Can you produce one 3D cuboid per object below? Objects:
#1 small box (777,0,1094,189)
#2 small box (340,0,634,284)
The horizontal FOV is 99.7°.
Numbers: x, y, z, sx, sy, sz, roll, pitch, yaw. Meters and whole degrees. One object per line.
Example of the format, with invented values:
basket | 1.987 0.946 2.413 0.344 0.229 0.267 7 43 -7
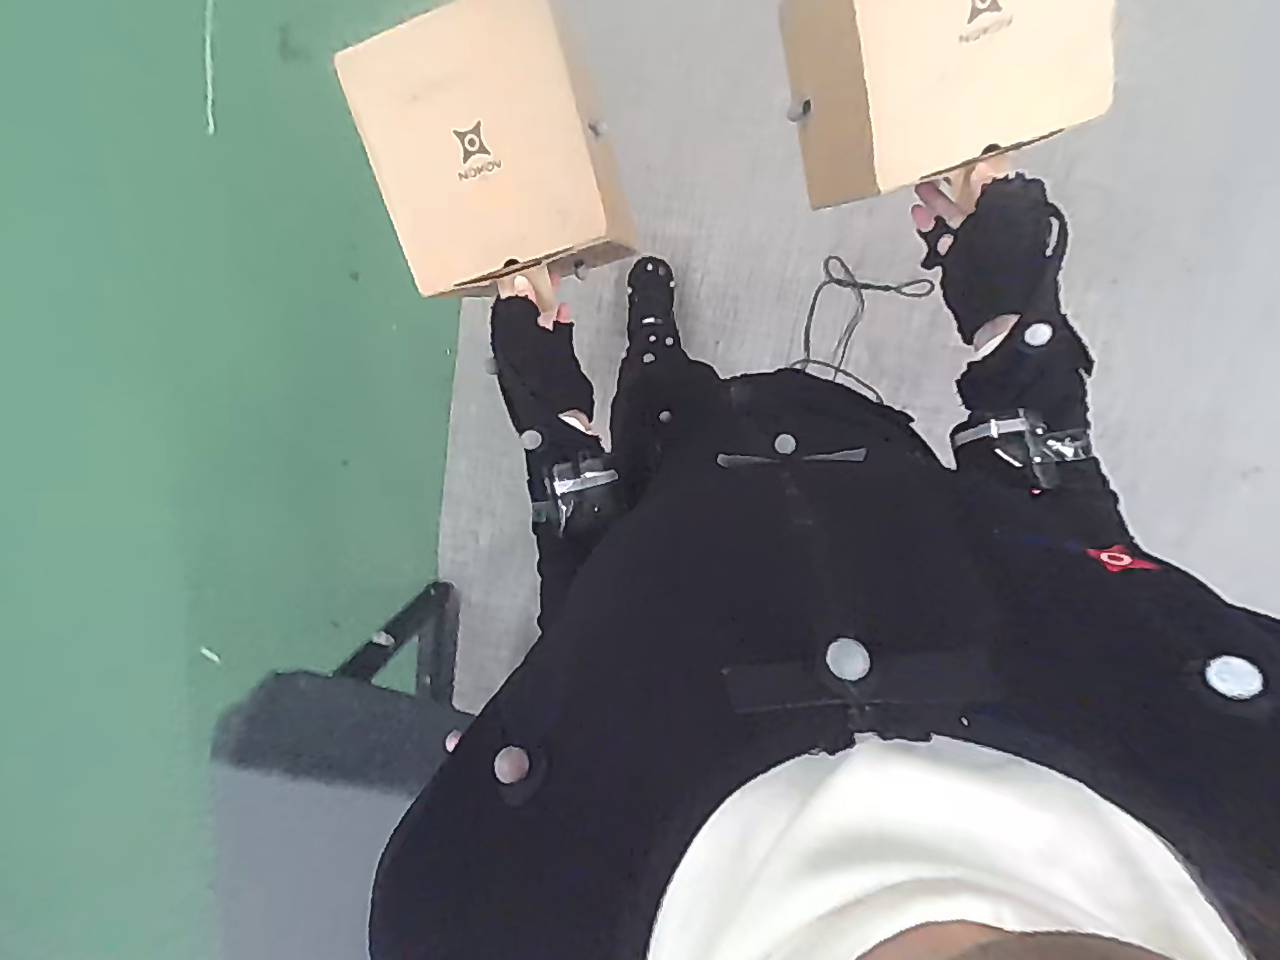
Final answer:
small box | 0.223 -0.353 0.440 0.168 0.176 0.179 -16 114 6
small box | -0.112 -0.284 0.480 0.168 0.176 0.179 -12 107 13
